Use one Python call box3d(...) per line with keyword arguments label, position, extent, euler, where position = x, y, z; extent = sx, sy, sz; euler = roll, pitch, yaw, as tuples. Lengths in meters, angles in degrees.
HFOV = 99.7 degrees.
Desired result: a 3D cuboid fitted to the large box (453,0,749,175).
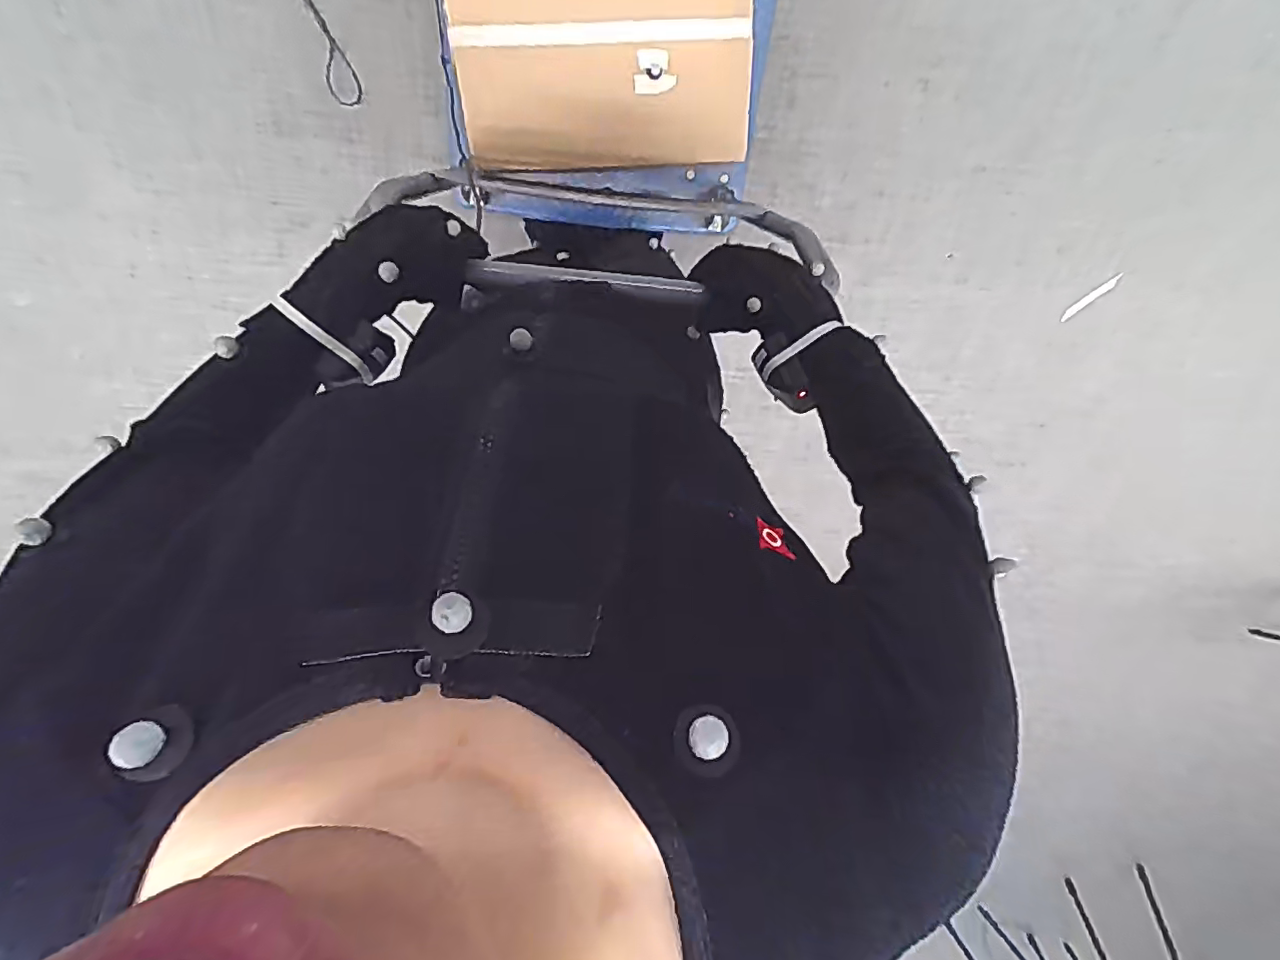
box3d(label="large box", position=(-0.062, -0.682, 0.868), extent=(0.408, 0.320, 0.320), euler=(-4, 119, -4))
